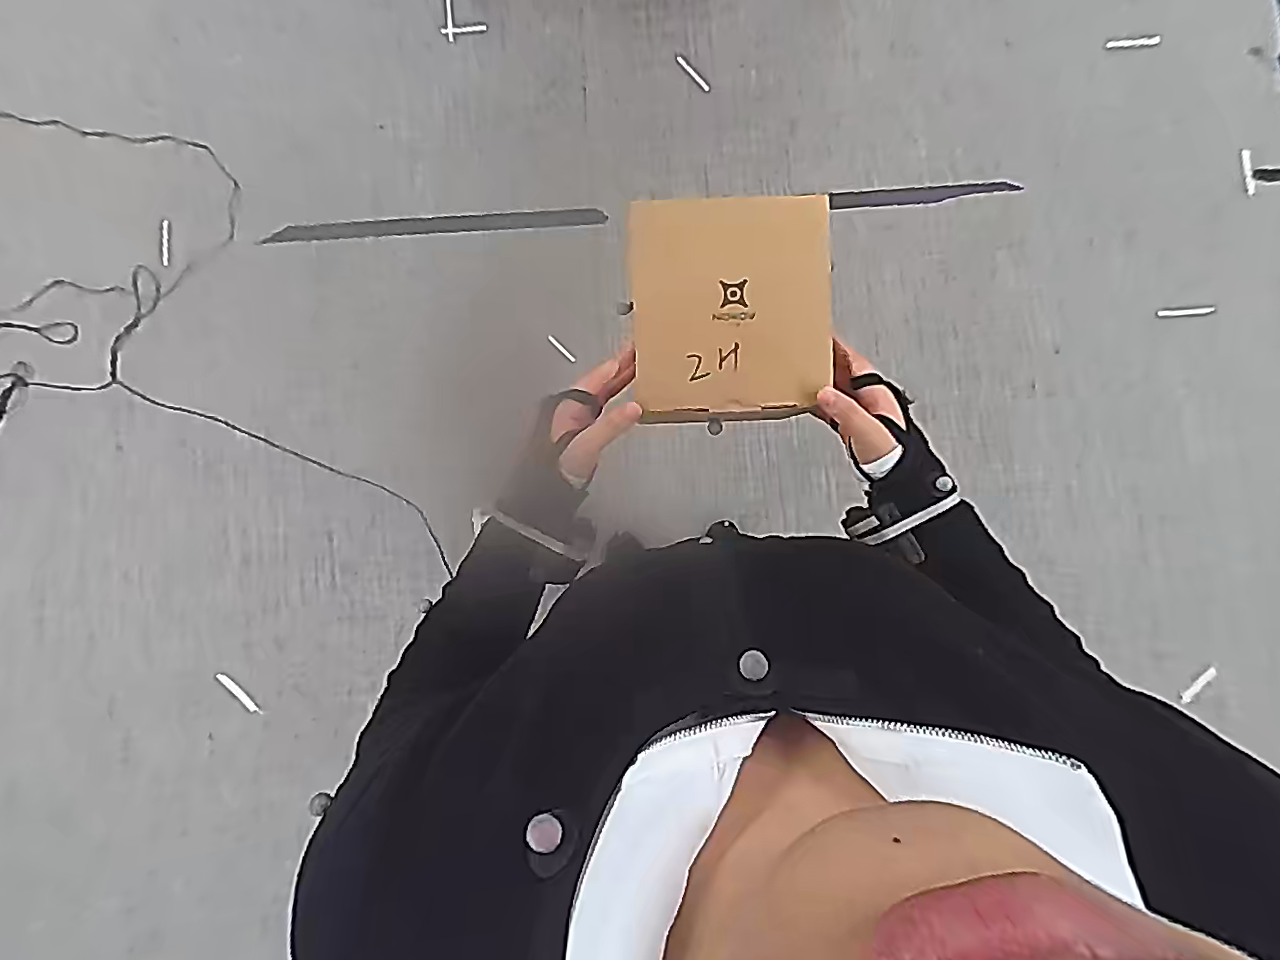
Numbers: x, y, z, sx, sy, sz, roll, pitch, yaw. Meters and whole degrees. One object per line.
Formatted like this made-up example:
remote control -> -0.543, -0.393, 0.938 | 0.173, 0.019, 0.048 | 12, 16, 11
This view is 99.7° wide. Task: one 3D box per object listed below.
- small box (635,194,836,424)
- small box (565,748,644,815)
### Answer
small box -> 0.079, -0.150, 0.528 | 0.168, 0.176, 0.179 | -2, 92, 0
small box -> -0.080, 0.757, 1.285 | 0.168, 0.176, 0.179 | -6, 86, 1
